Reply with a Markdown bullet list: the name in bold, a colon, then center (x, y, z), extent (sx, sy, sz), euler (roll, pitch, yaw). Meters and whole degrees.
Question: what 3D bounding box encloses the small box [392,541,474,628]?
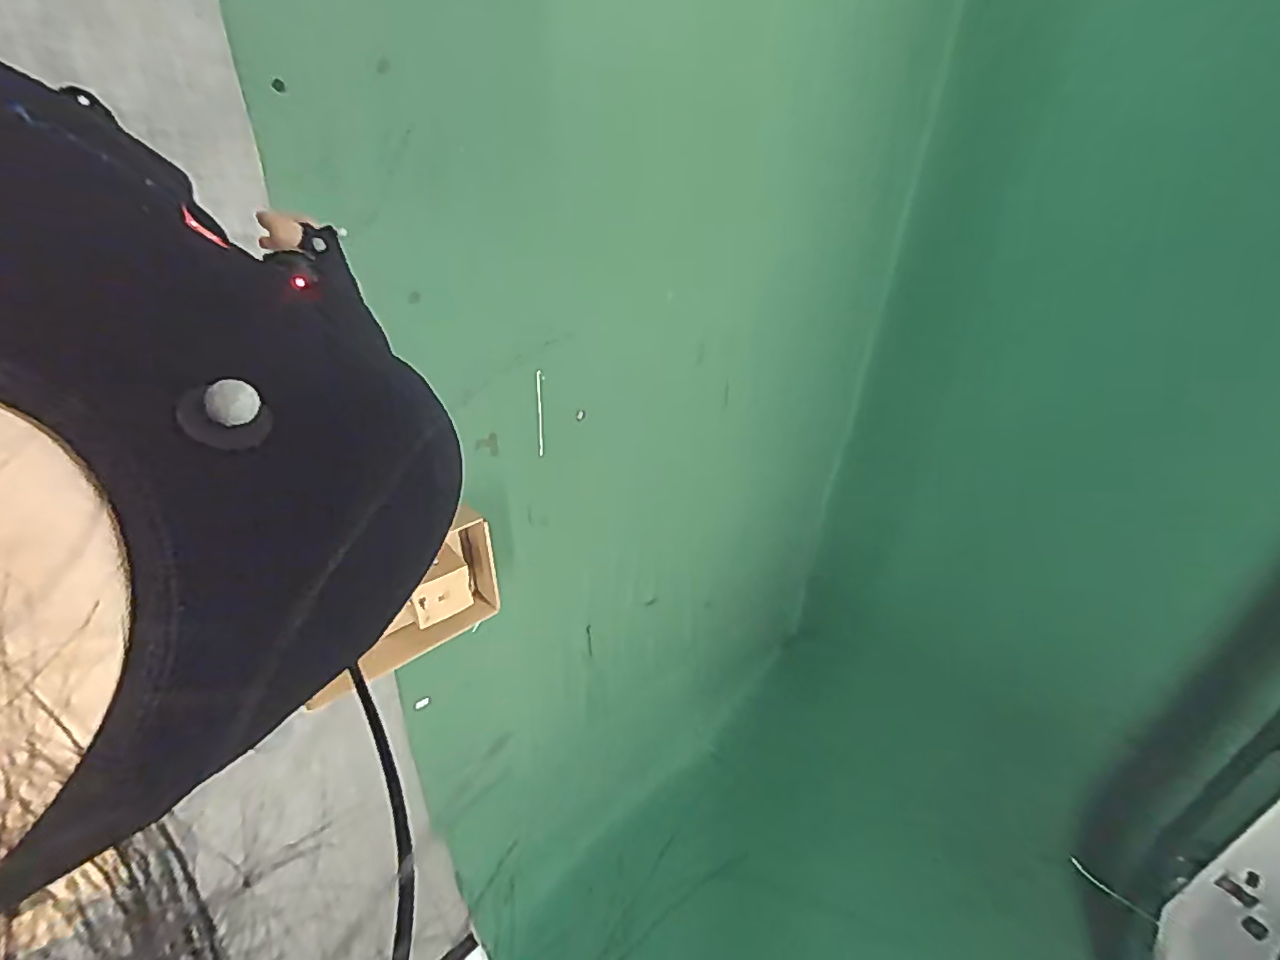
- **small box**: center (-0.641, 0.316, 1.678), extent (0.179, 0.176, 0.168), euler (-23, 130, -36)
